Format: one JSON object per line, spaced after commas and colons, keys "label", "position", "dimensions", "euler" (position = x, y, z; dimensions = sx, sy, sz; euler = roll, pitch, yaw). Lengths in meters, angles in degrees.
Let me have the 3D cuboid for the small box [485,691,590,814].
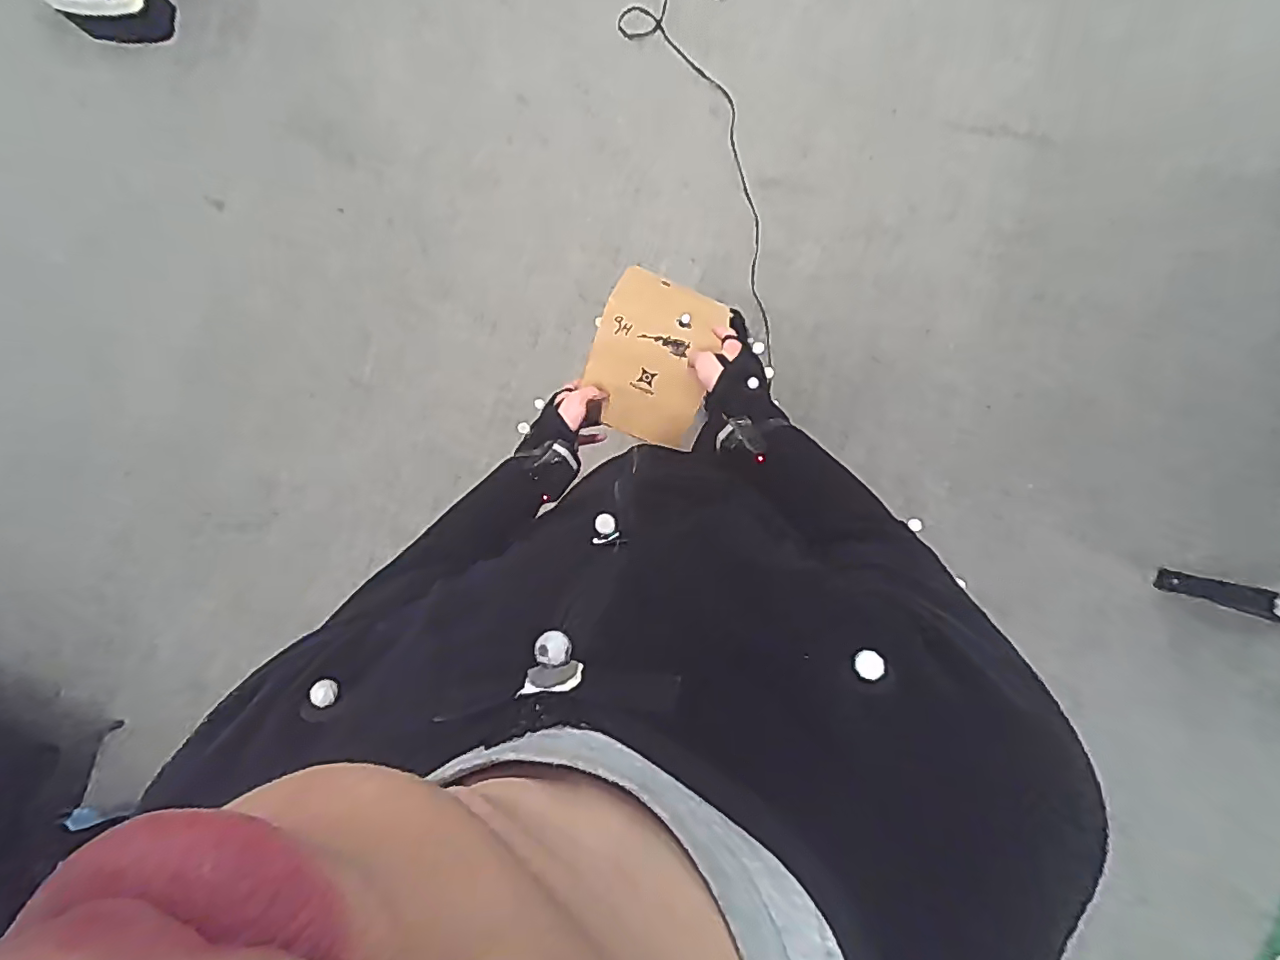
{"label": "small box", "position": [-0.220, 0.593, 1.199], "dimensions": [0.179, 0.176, 0.168], "euler": [14, 93, 0]}
